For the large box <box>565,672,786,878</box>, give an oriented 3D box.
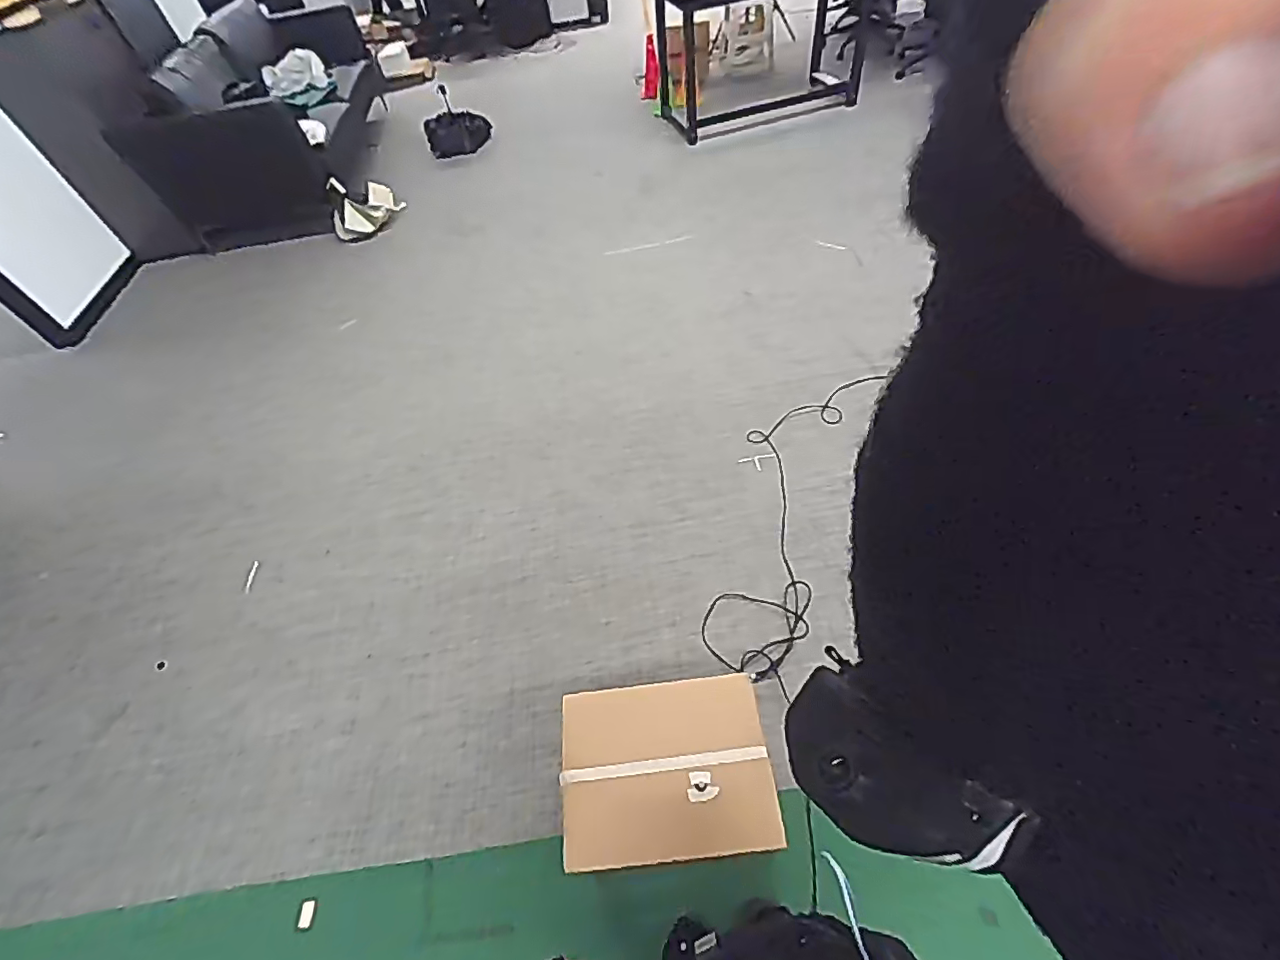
[{"bbox_3d":[0.064,0.648,1.177,0.408,0.320,0.320,-8,53,1],"label":"large box"}]
